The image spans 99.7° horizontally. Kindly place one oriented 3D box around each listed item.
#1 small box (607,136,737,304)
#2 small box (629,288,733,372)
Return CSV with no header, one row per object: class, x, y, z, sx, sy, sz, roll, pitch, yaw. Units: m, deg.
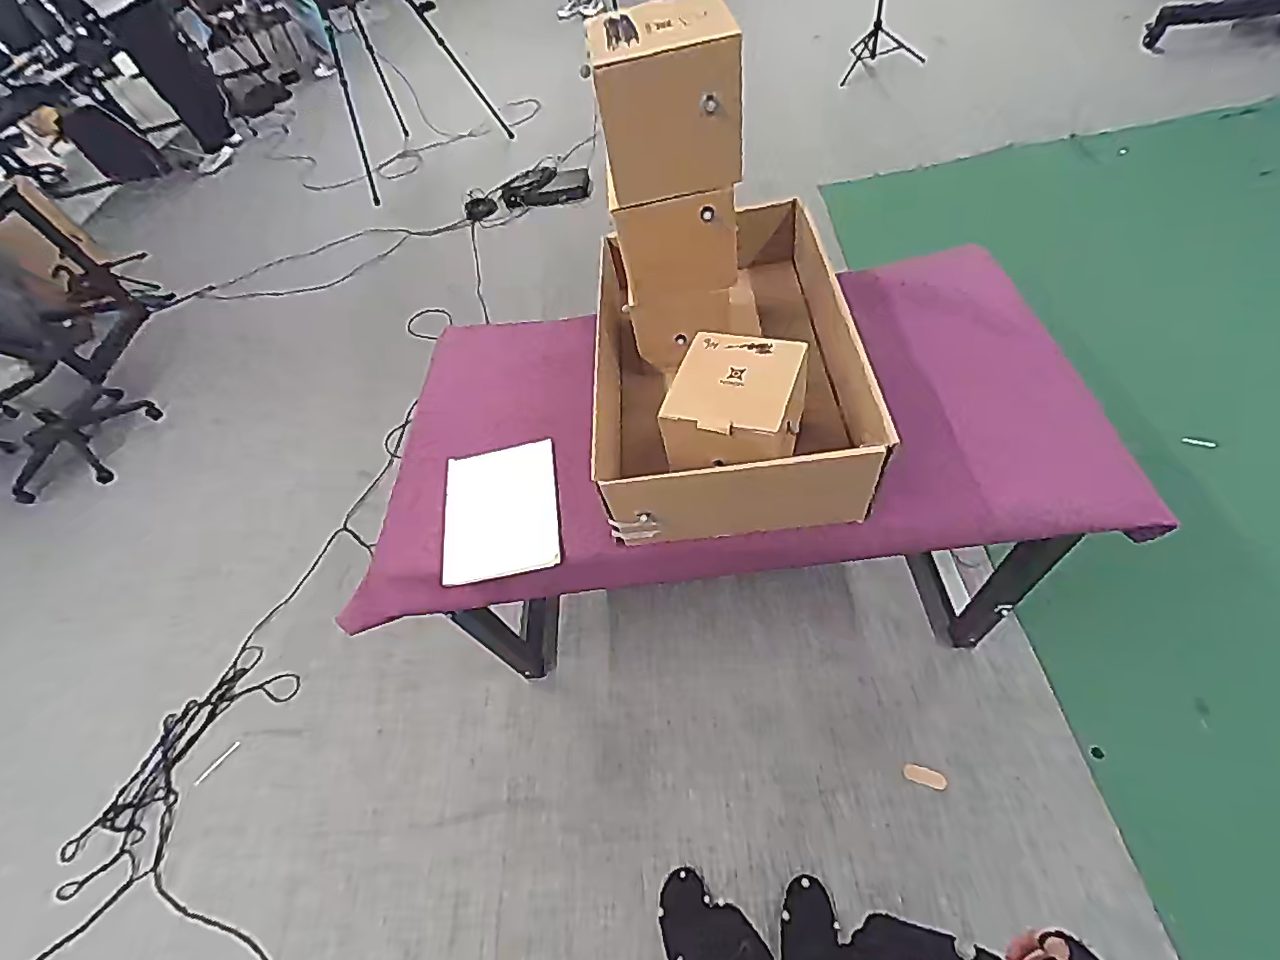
small box,0.053,-0.402,0.855,0.179,0.176,0.168,-9,55,6
small box,0.077,-0.315,0.989,0.168,0.176,0.179,-7,56,8
